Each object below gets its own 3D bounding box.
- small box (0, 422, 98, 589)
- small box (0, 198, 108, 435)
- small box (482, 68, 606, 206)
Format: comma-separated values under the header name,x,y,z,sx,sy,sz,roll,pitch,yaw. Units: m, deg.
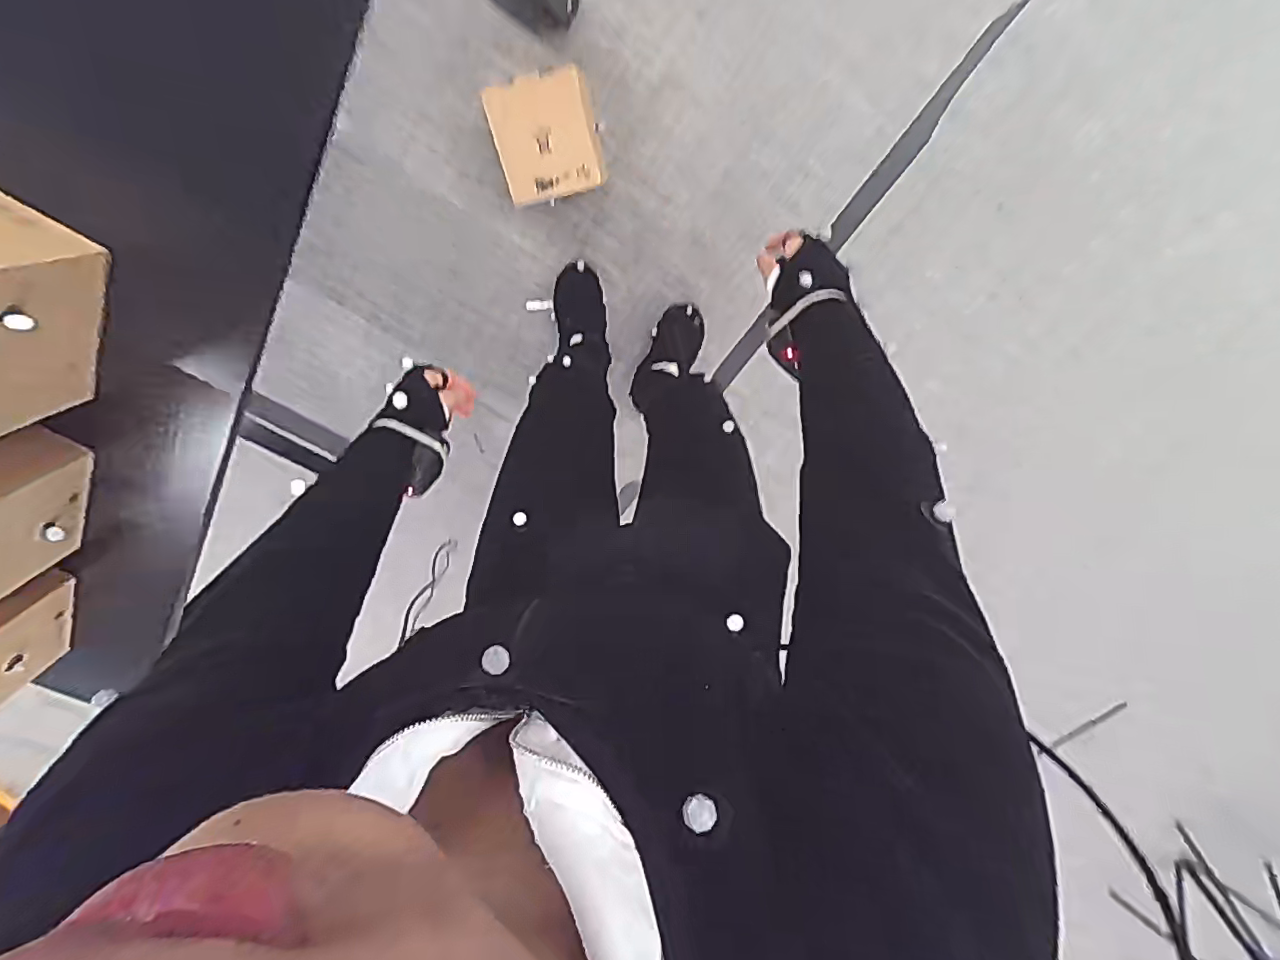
name,x,y,z,sx,sy,sz,roll,pitch,yaw
small box,-0.722,0.021,0.544,0.179,0.176,0.168,30,117,-15
small box,-0.598,-0.147,0.444,0.168,0.176,0.179,30,118,-13
small box,-0.165,-0.620,0.993,0.168,0.176,0.179,-10,120,8
